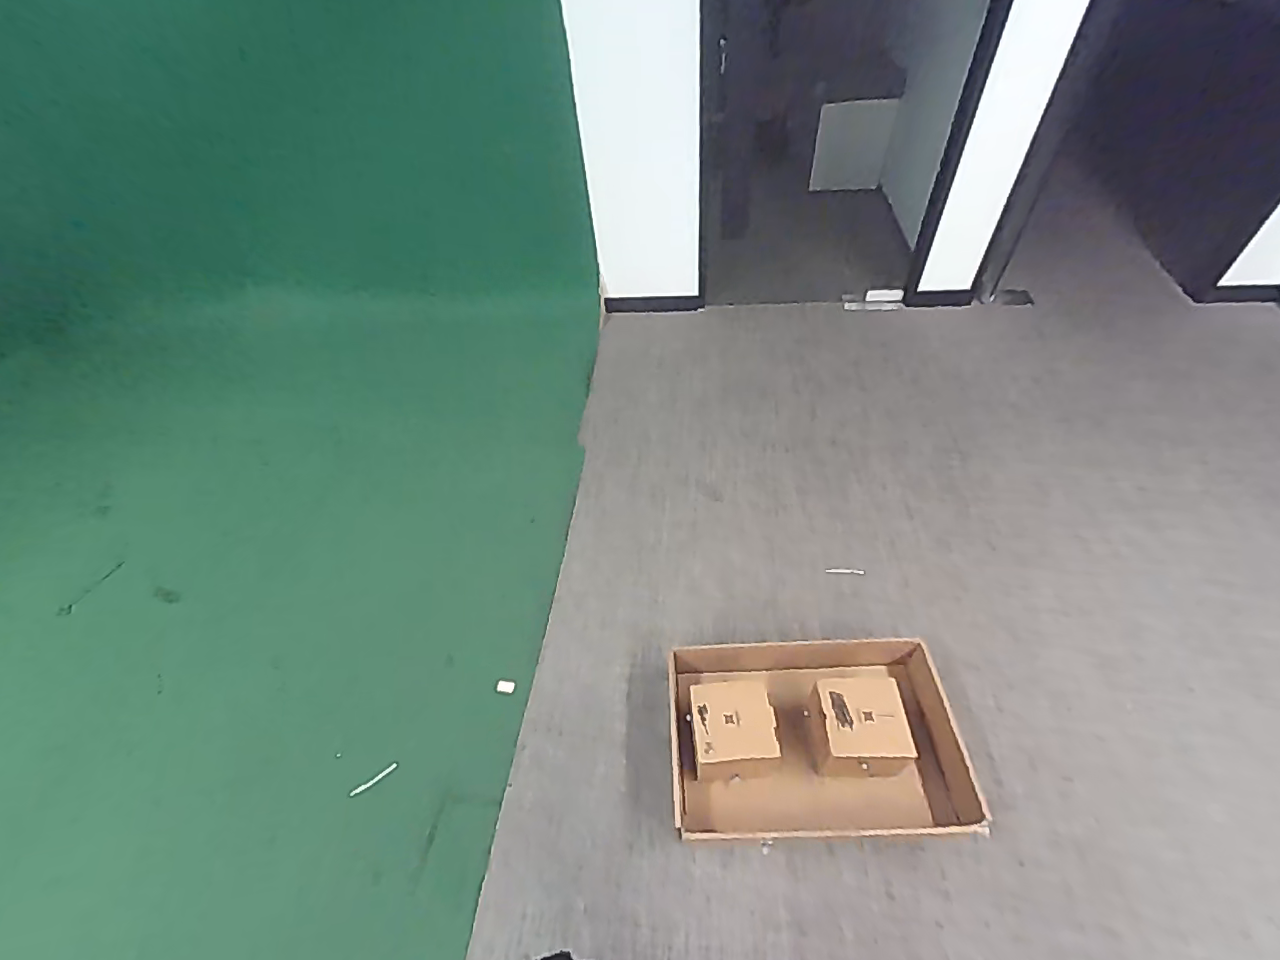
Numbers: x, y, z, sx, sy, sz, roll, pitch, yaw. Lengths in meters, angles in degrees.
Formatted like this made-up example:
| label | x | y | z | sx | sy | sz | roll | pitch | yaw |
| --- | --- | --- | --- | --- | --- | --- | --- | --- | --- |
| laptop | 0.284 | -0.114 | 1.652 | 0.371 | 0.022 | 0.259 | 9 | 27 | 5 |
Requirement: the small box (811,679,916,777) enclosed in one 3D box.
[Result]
| label | x | y | z | sx | sy | sz | roll | pitch | yaw |
| --- | --- | --- | --- | --- | --- | --- | --- | --- | --- |
| small box | 0.492 | 0.565 | 1.227 | 0.179 | 0.176 | 0.168 | -2 | 49 | 5 |

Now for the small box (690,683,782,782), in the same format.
| label | x | y | z | sx | sy | sz | roll | pitch | yaw |
| --- | --- | --- | --- | --- | --- | --- | --- | --- | --- |
| small box | 0.212 | 0.582 | 1.242 | 0.179 | 0.176 | 0.168 | -4 | 48 | 0 |
